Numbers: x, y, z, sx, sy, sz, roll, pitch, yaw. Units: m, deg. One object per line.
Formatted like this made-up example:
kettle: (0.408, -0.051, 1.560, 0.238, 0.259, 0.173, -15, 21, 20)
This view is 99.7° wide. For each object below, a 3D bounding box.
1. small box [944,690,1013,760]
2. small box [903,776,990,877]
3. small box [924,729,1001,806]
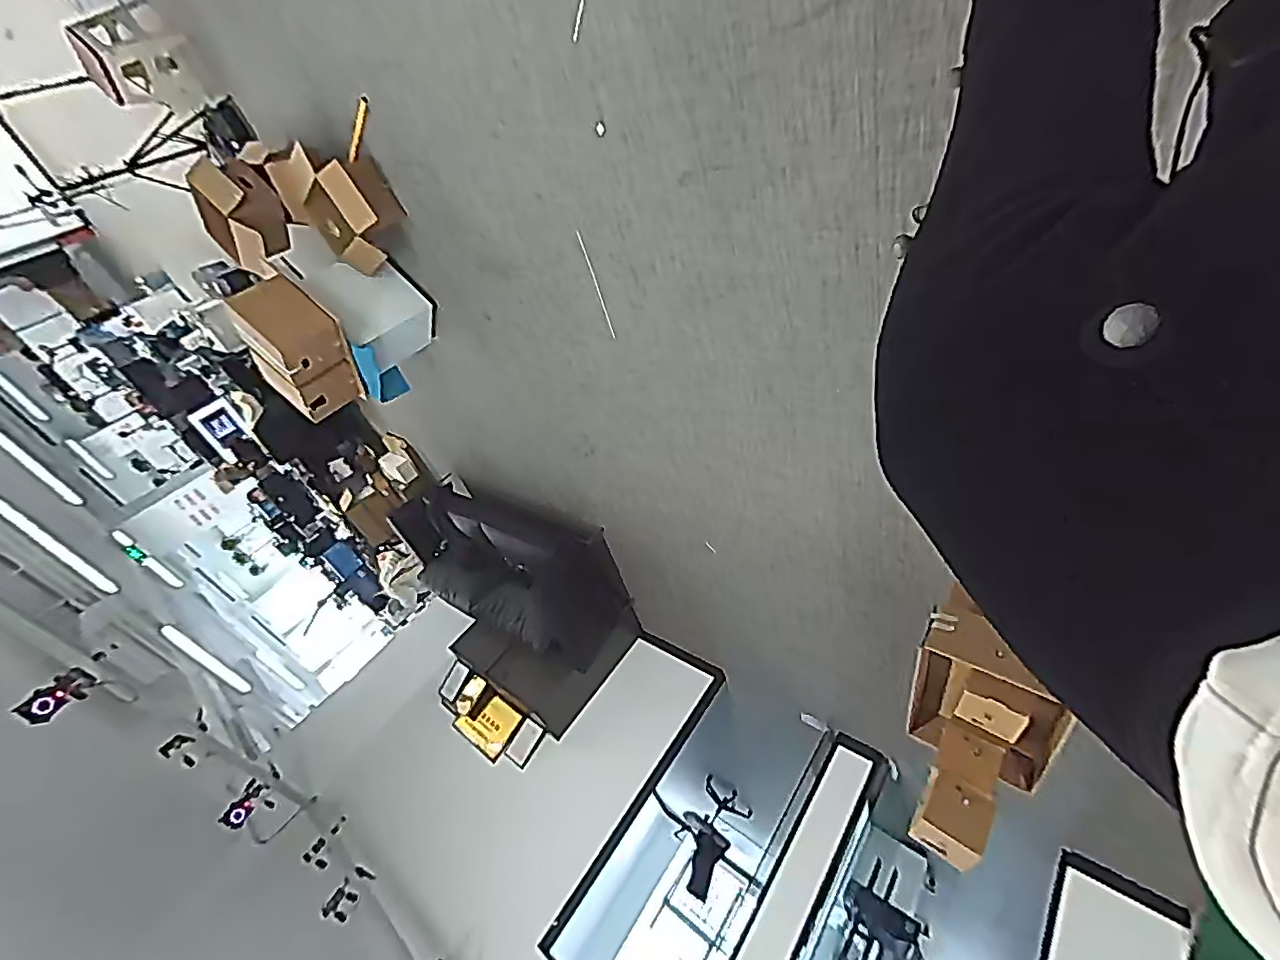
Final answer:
small box: (1.118, 0.842, 1.798, 0.168, 0.176, 0.179, 18, 138, 37)
small box: (0.922, 1.037, 1.625, 0.168, 0.176, 0.179, 25, 141, 30)
small box: (1.018, 0.936, 1.711, 0.168, 0.176, 0.179, 18, 138, 38)
